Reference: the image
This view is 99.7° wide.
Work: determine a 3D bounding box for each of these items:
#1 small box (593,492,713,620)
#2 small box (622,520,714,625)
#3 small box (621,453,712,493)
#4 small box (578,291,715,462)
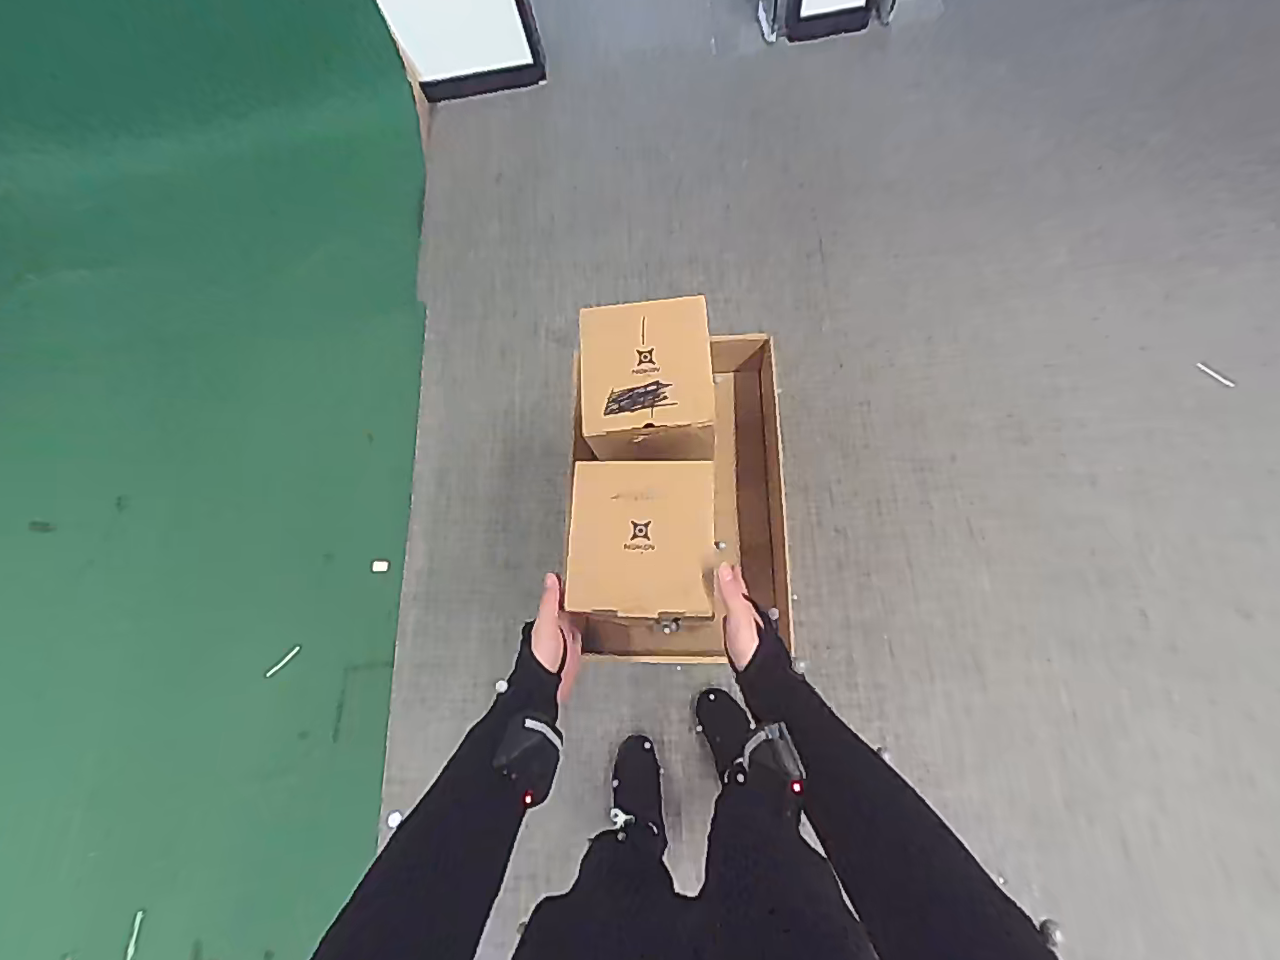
[{"bbox_3d":[0.028,0.123,0.833,0.168,0.176,0.179,-1,74,7],"label":"small box"},{"bbox_3d":[0.050,0.169,0.987,0.168,0.176,0.179,-1,73,8],"label":"small box"},{"bbox_3d":[0.054,-0.072,1.064,0.168,0.176,0.179,-3,76,7],"label":"small box"},{"bbox_3d":[0.014,-0.128,0.741,0.168,0.176,0.179,-5,75,6],"label":"small box"}]
